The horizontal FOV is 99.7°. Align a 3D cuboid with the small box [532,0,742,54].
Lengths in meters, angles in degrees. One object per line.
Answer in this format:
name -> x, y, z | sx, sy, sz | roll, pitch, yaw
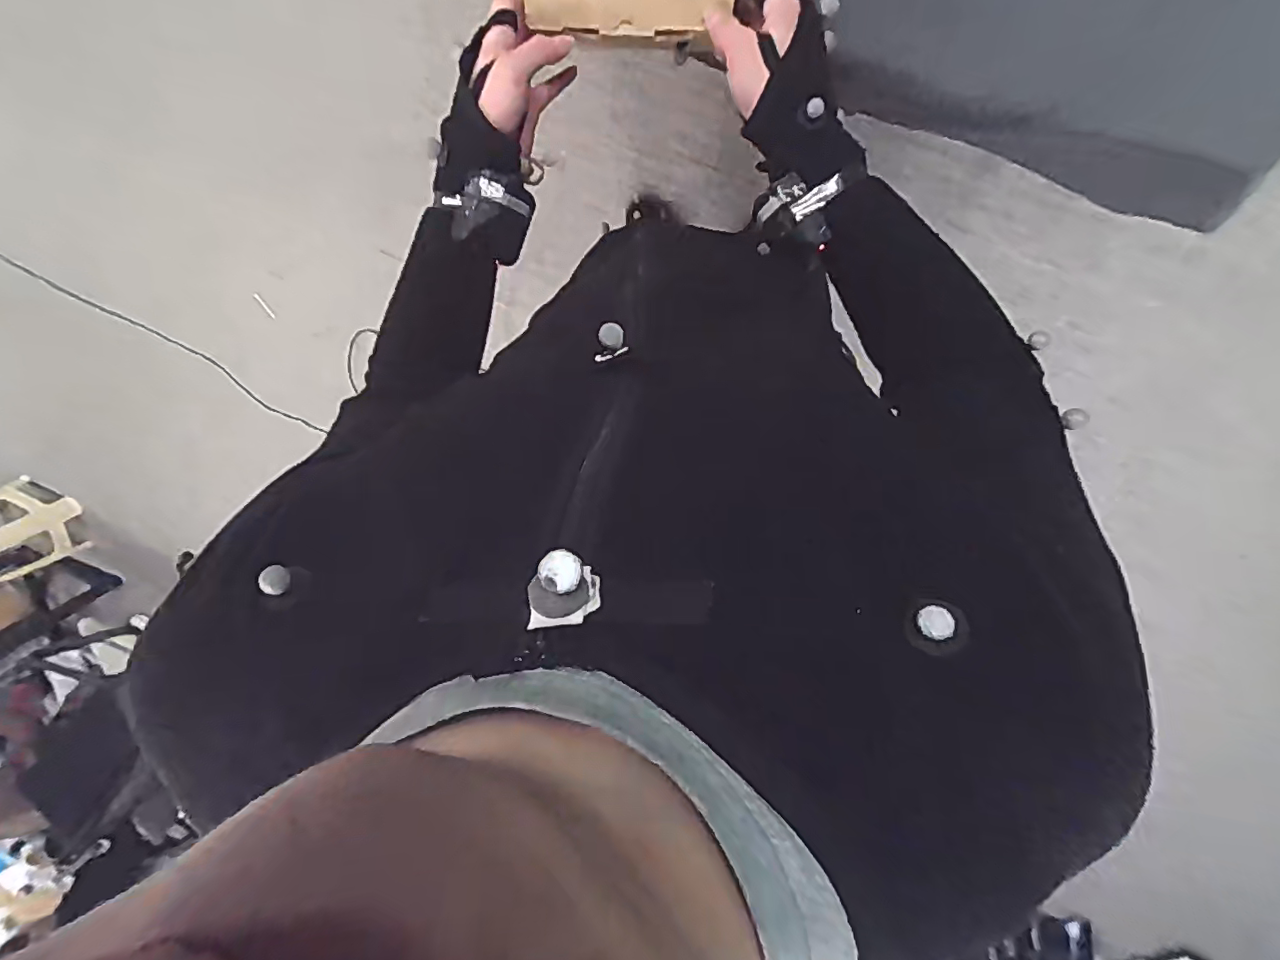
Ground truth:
small box -> 0.008, -0.469, 0.448 | 0.168, 0.176, 0.179 | 6, 125, 6
